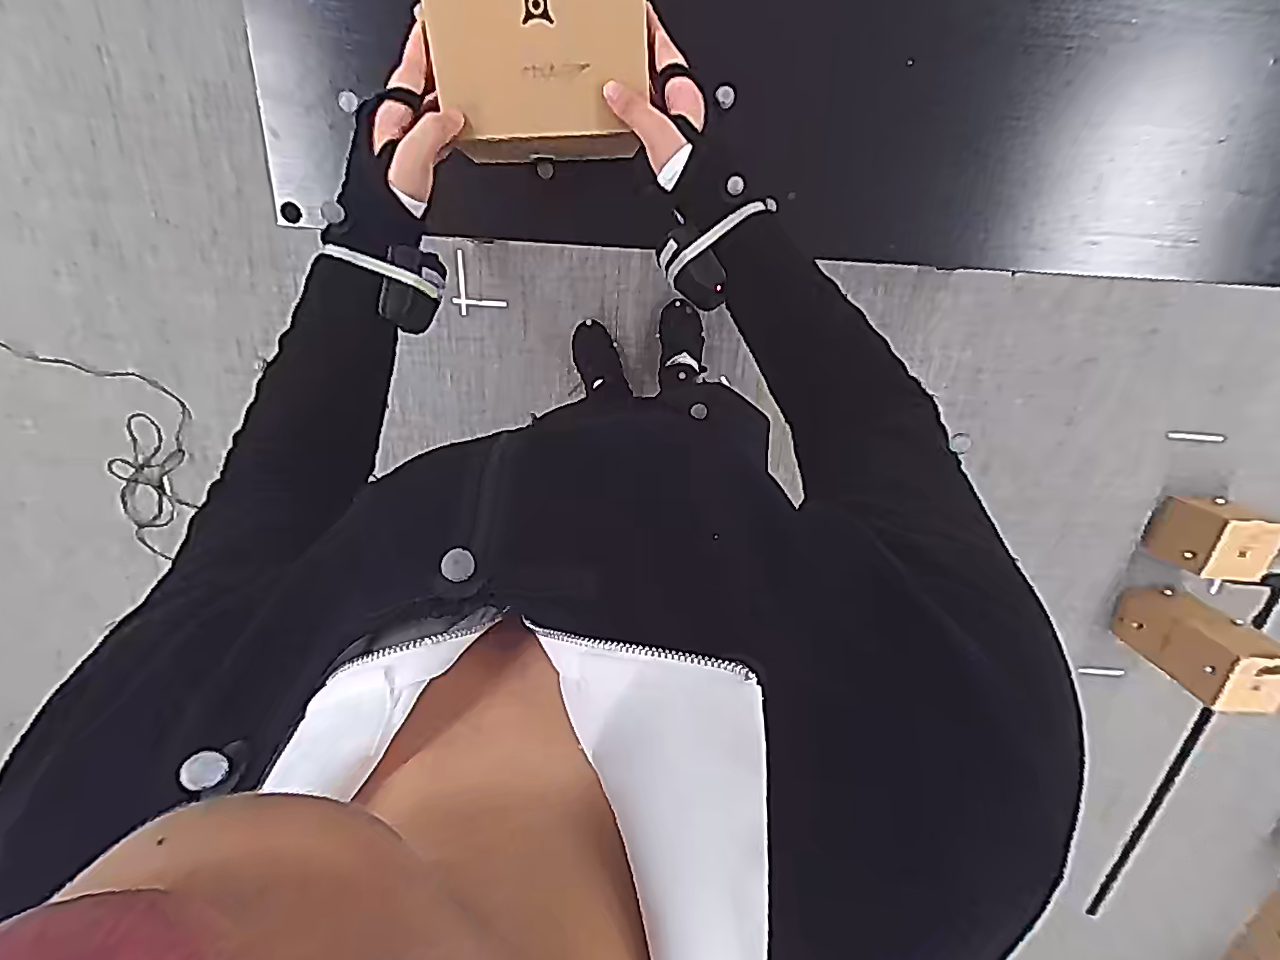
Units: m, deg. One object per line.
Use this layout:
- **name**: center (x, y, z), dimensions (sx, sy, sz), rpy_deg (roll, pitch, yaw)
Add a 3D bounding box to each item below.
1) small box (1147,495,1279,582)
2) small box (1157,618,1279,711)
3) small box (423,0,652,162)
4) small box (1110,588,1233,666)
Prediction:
- **small box**: center (1.575, 0.158, 1.495), dimensions (0.168, 0.176, 0.179), rpy_deg (5, 111, -2)
- **small box**: center (1.561, 0.489, 1.451), dimensions (0.168, 0.176, 0.179), rpy_deg (1, 112, 0)
- **small box**: center (-0.083, -0.386, 0.462), dimensions (0.168, 0.176, 0.179), rpy_deg (-5, 115, -3)
- **small box**: center (1.565, 0.434, 1.608), dimensions (0.179, 0.176, 0.168), rpy_deg (2, 112, 0)
